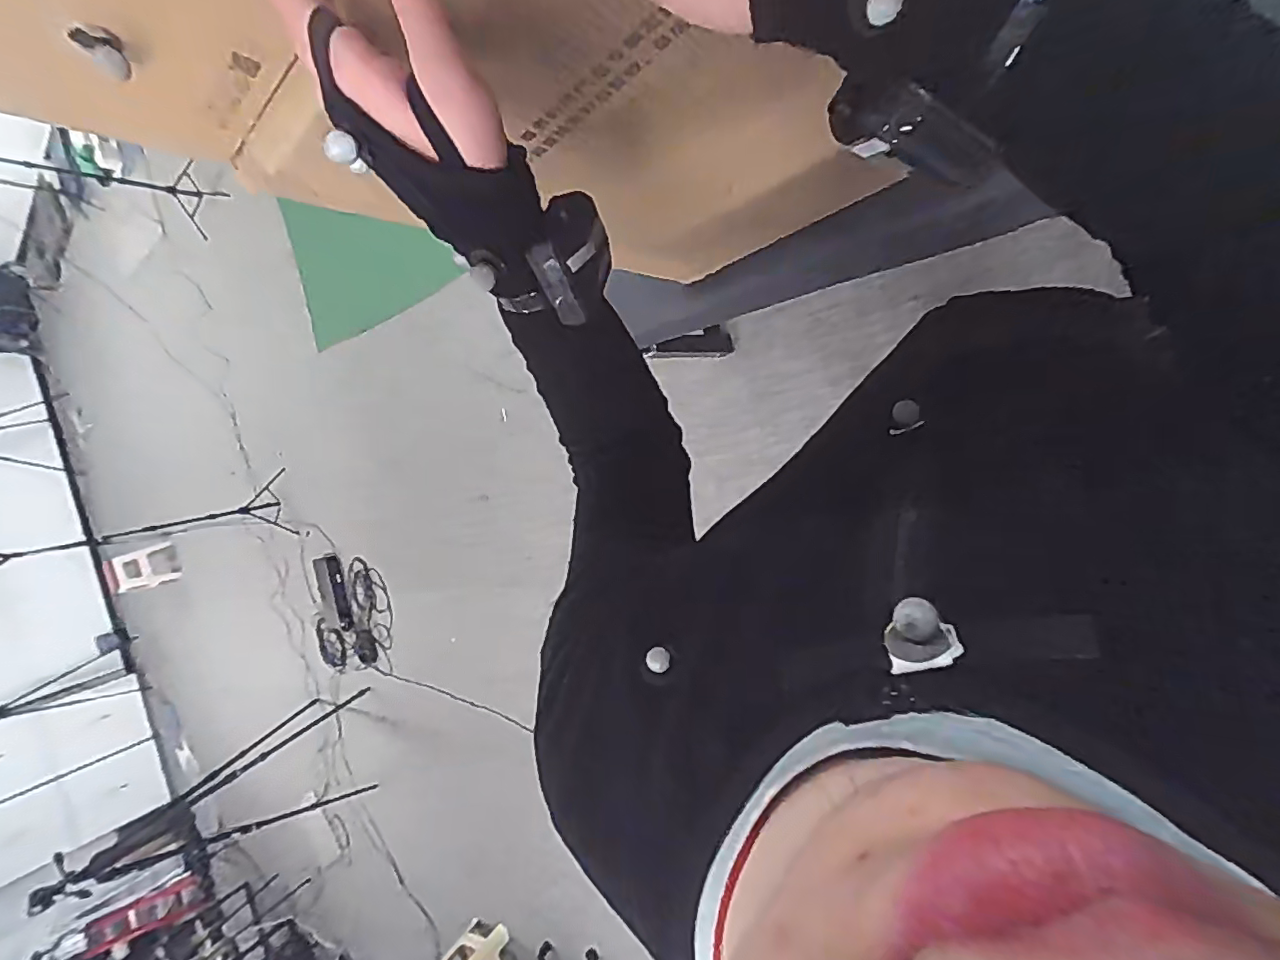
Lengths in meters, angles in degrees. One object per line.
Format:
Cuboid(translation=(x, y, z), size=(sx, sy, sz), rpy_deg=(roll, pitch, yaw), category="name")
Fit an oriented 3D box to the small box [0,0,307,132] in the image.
Cuboid(translation=(-0.297, -0.307, 0.266), size=(0.168, 0.176, 0.179), rpy_deg=(-12, 94, 37), category="small box")
